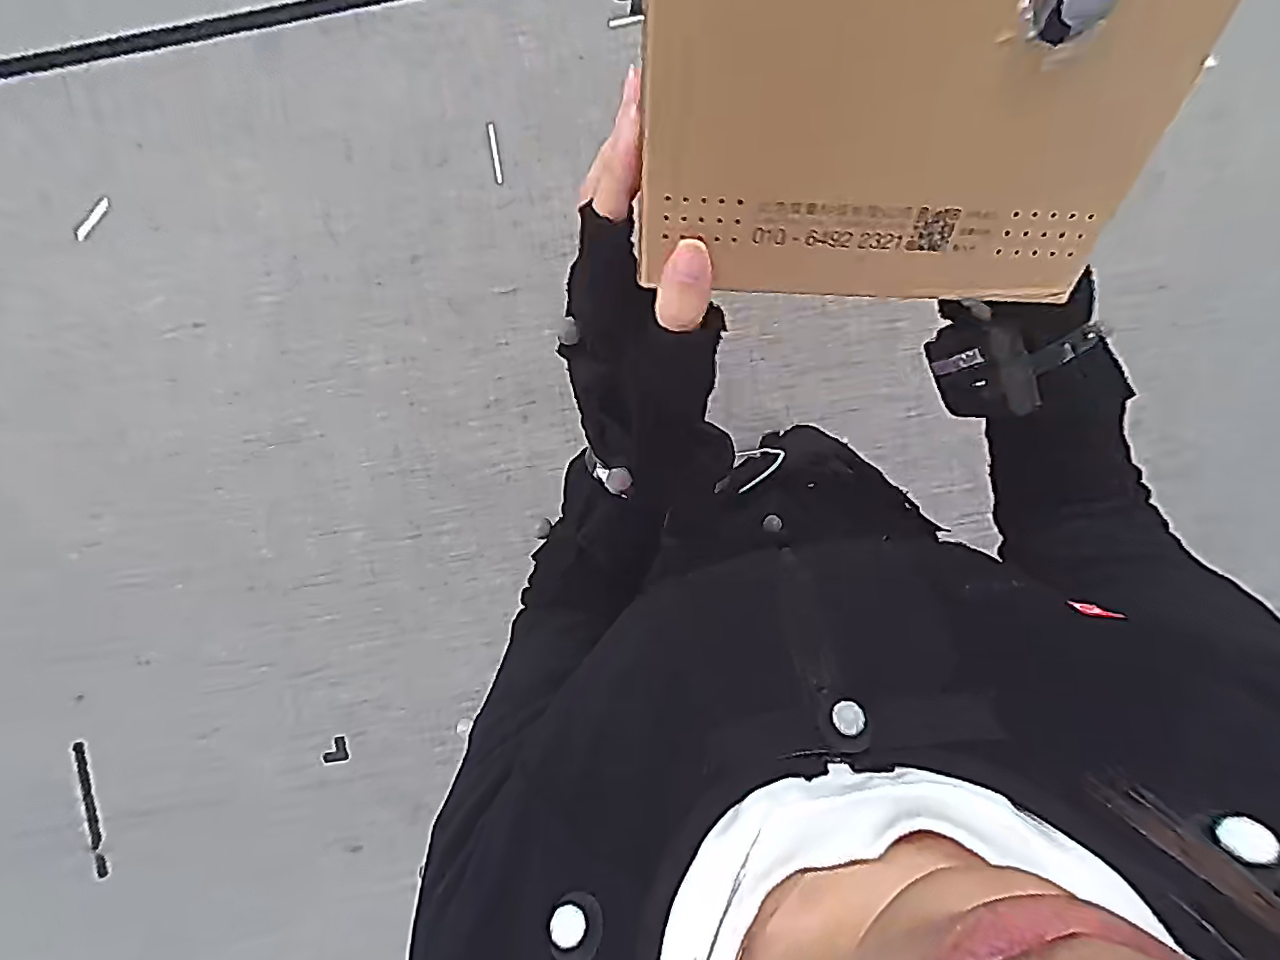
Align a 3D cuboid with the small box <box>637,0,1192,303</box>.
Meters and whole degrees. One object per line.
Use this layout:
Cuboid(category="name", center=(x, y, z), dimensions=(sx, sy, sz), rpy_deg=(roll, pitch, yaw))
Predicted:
Cuboid(category="small box", center=(0.088, -0.187, 0.223), dimensions=(0.168, 0.179, 0.176), rpy_deg=(4, 133, 3))
